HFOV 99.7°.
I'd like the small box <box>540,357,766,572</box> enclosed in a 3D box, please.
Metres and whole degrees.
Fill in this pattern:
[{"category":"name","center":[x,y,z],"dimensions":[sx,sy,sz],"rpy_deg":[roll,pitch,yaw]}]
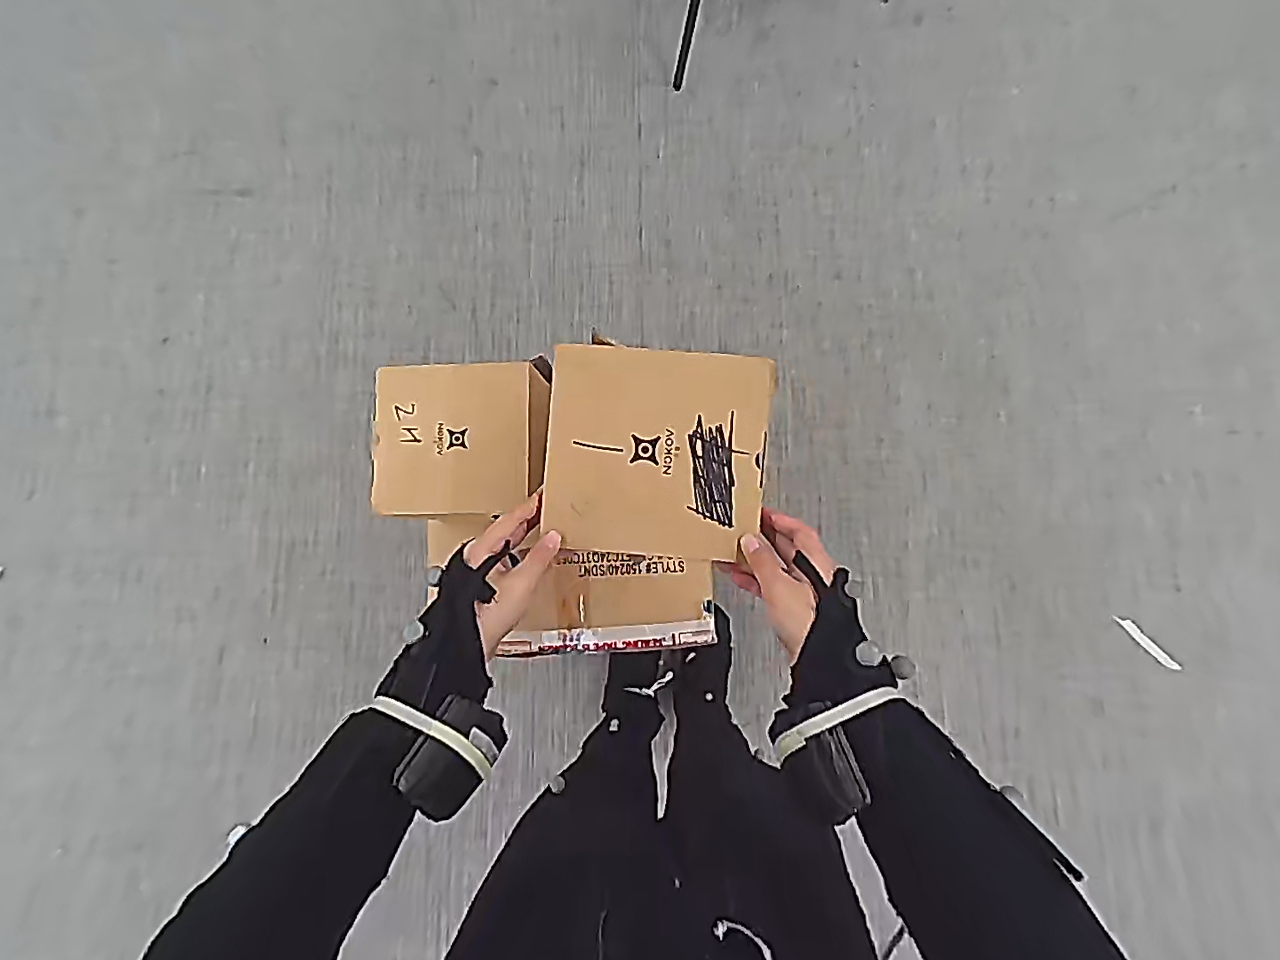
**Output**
[{"category":"small box","center":[0.012,-0.011,0.518],"dimensions":[0.179,0.176,0.168],"rpy_deg":[4,87,1]}]

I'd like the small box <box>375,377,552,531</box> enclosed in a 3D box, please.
[{"category":"small box","center":[-0.196,-0.023,0.668],"dimensions":[0.179,0.176,0.168],"rpy_deg":[-1,83,4]}]
